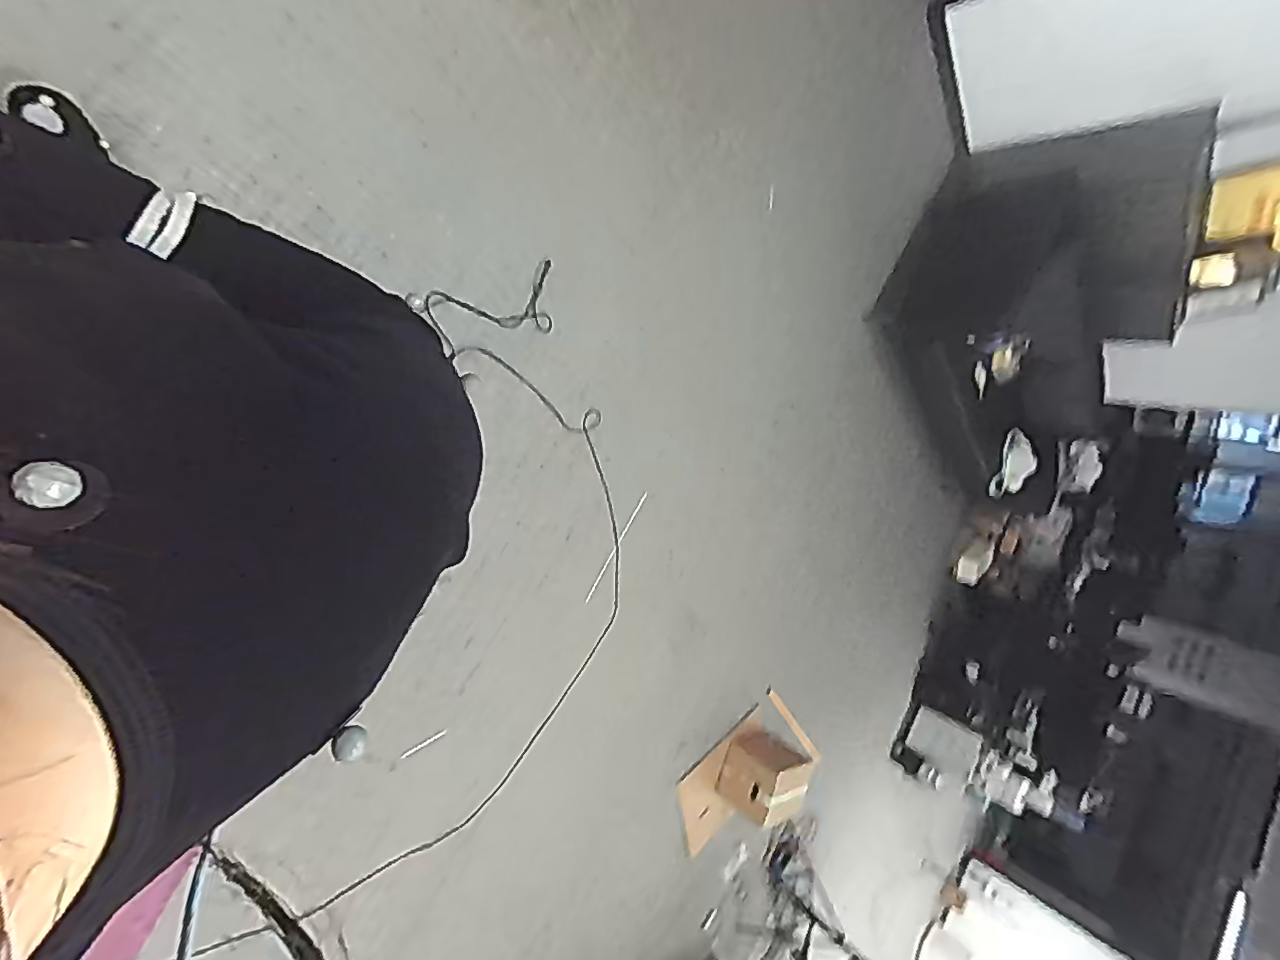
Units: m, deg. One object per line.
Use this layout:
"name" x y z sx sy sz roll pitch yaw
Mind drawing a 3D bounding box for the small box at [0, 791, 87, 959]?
"small box" -0.668 0.414 0.500 0.179 0.176 0.168 36 79 -43
